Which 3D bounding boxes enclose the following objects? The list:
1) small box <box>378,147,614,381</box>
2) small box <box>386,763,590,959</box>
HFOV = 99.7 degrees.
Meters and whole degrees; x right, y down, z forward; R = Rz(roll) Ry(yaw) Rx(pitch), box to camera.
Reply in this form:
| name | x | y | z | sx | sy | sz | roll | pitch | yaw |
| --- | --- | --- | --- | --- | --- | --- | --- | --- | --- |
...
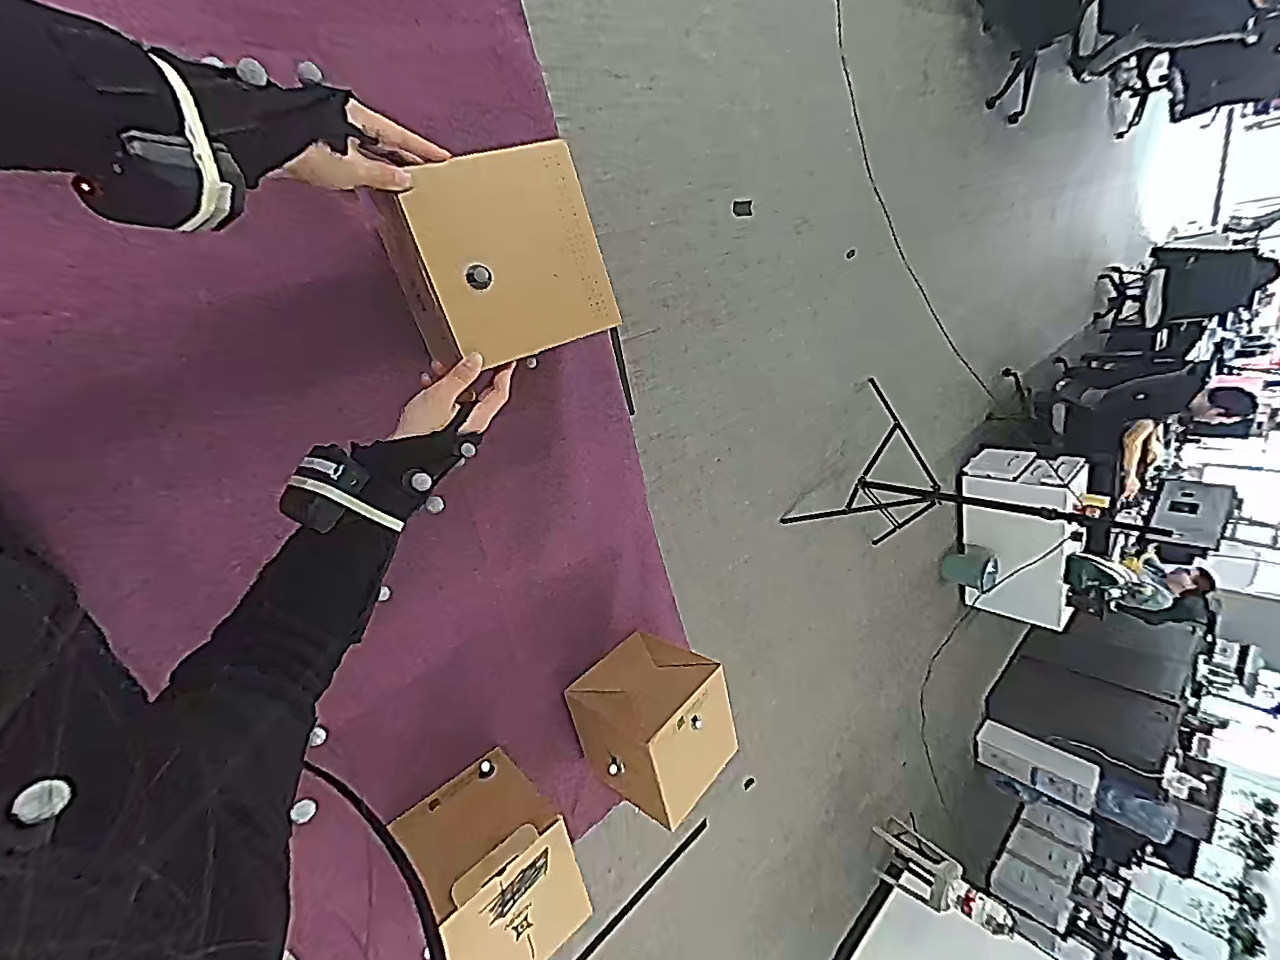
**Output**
| name | x | y | z | sx | sy | sz | roll | pitch | yaw |
| --- | --- | --- | --- | --- | --- | --- | --- | --- | --- |
| small box | -0.148 | -0.214 | 0.562 | 0.176 | 0.168 | 0.179 | -25 | 109 | -24 |
| small box | -0.192 | 0.492 | 0.677 | 0.168 | 0.176 | 0.179 | -26 | 114 | -36 |
